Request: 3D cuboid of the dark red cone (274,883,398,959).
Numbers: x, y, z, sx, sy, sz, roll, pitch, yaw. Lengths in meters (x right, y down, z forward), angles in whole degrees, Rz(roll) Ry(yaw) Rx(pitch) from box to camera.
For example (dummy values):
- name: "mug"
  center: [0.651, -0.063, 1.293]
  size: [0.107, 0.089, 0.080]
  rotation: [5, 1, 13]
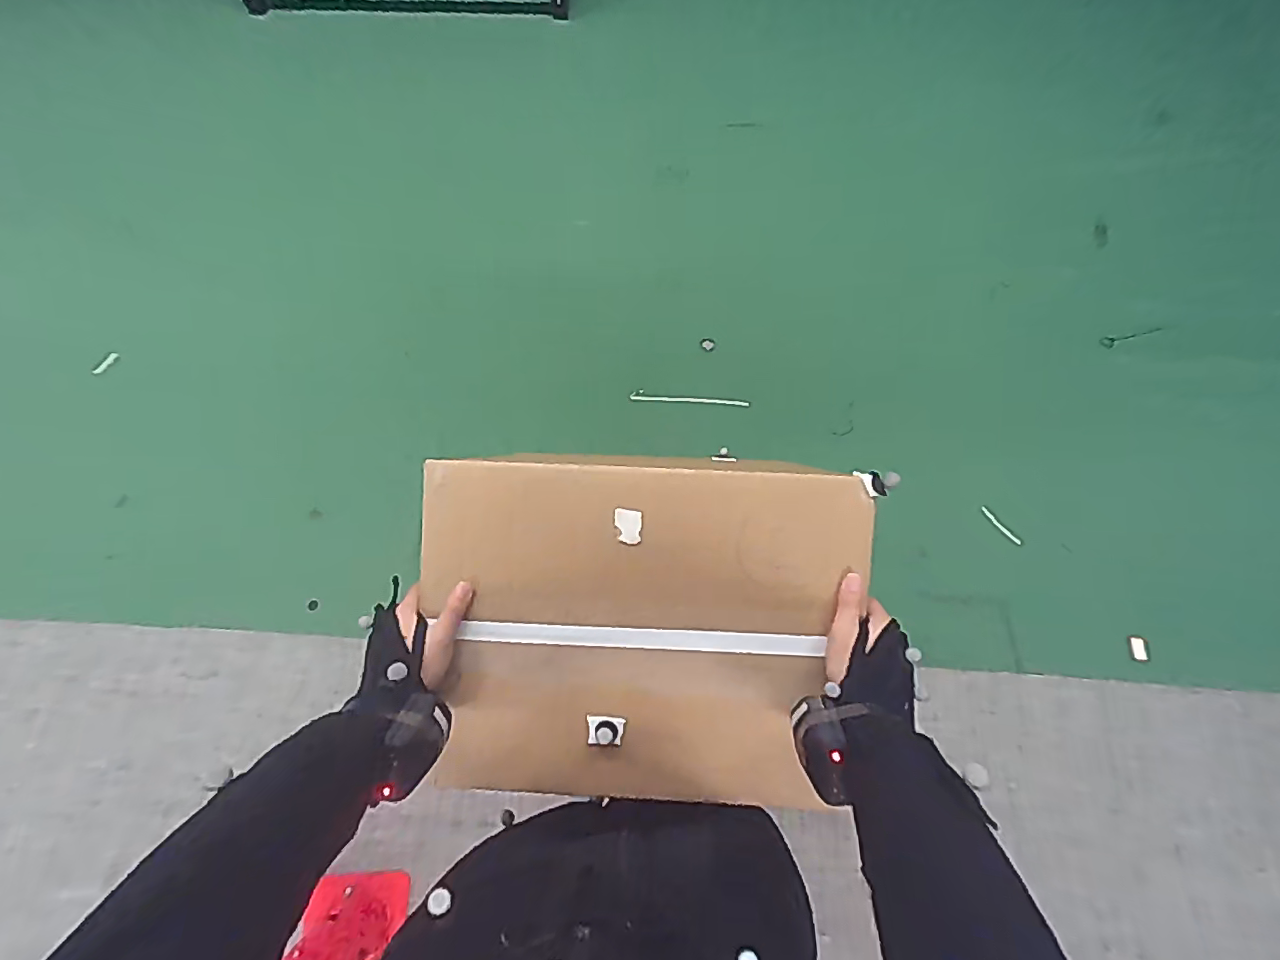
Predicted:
- name: "dark red cone"
  center: [-0.555, 0.797, 0.842]
  size: [0.202, 0.394, 0.201]
  rotation: [-5, 66, 0]
